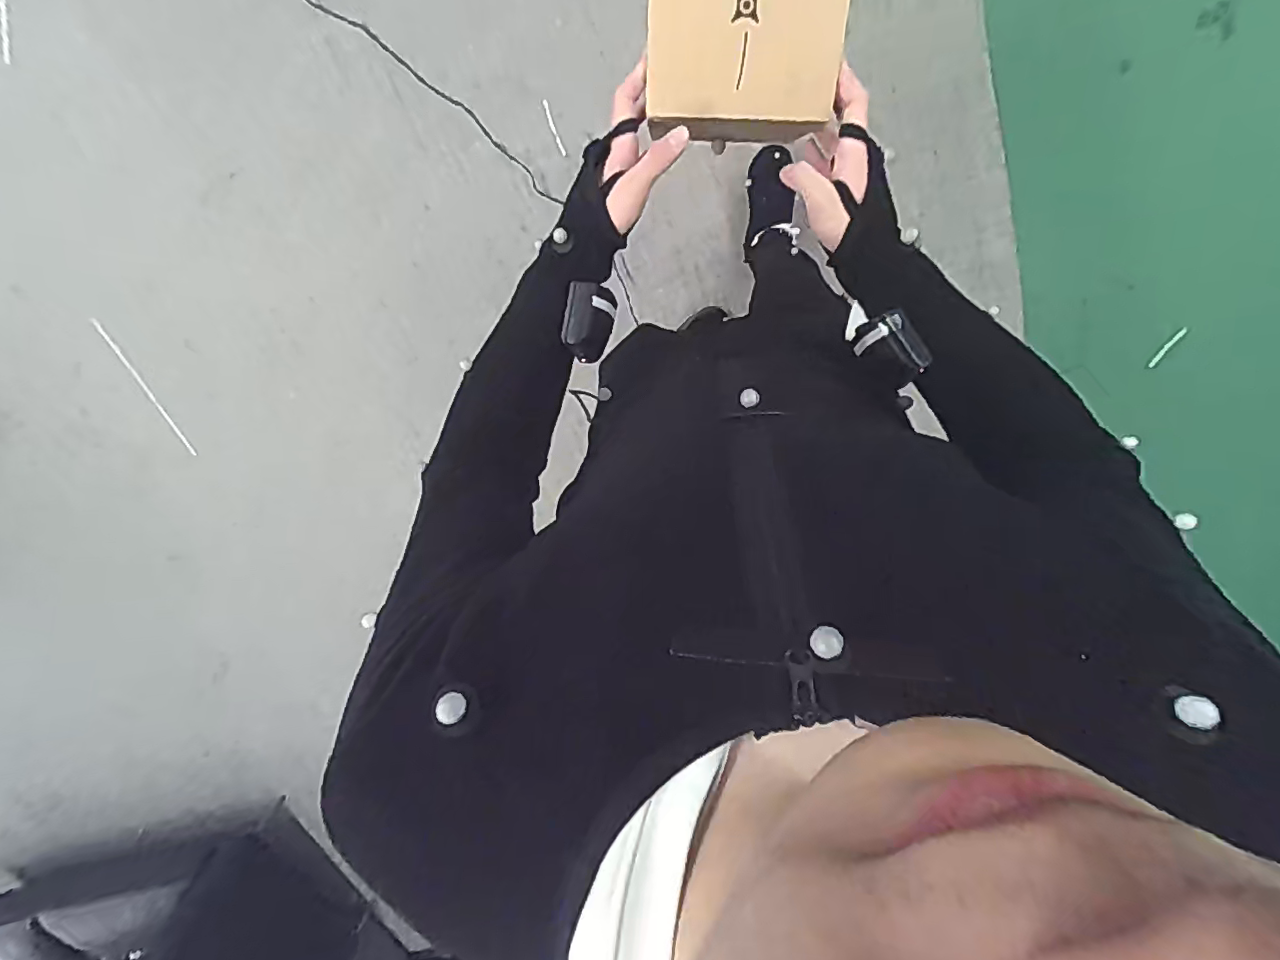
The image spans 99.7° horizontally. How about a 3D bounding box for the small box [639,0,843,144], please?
[{"bbox_3d":[0.087,-0.432,0.510,0.168,0.176,0.179,3,117,2],"label":"small box"}]
